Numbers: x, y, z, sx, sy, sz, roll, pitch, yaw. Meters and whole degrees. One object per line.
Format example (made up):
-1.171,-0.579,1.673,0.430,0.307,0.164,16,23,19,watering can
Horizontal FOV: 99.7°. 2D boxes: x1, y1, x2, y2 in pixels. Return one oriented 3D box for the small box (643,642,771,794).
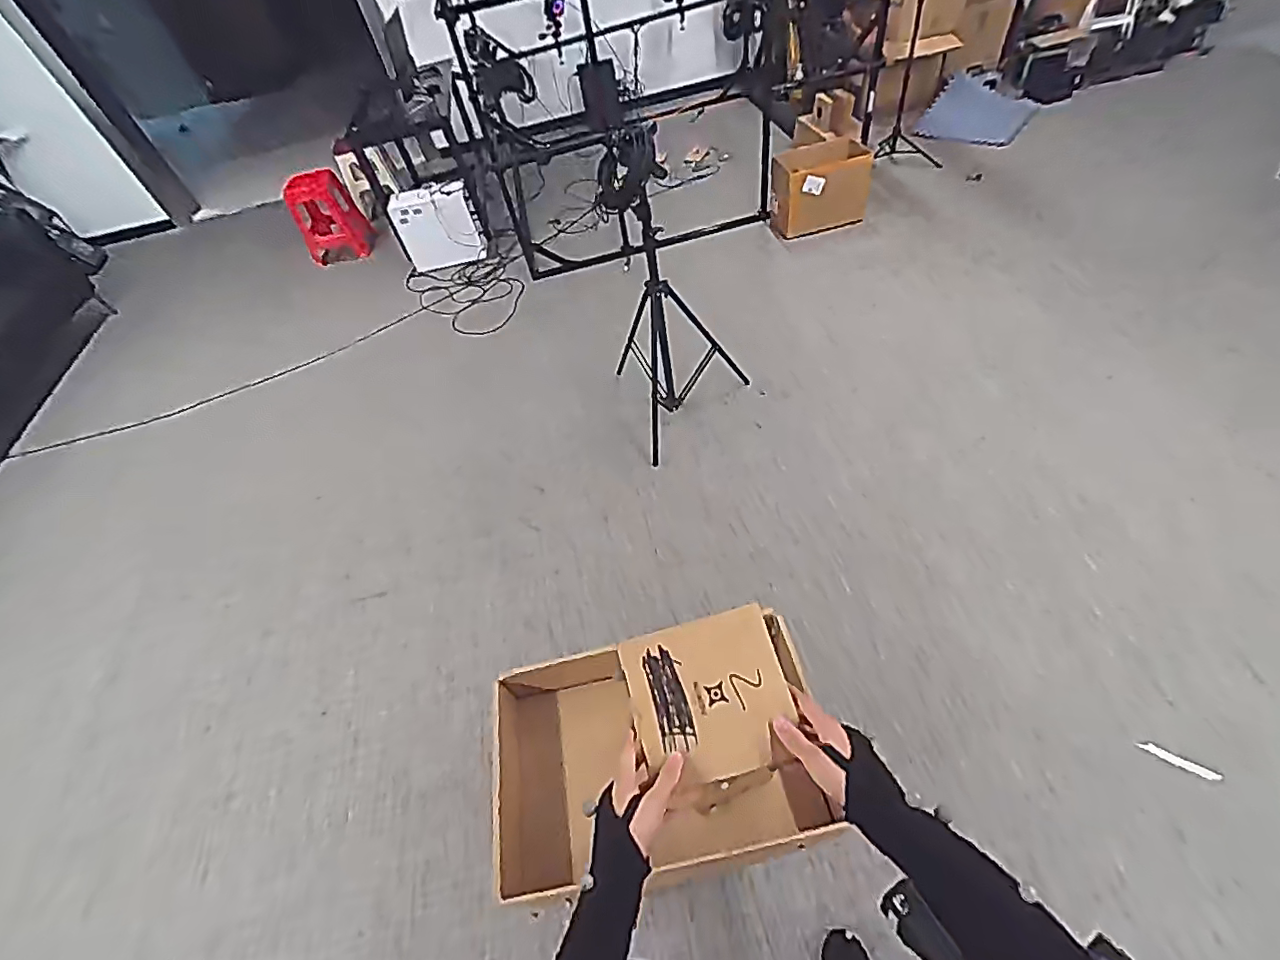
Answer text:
0.111,0.404,0.912,0.168,0.176,0.179,-16,51,0,small box
